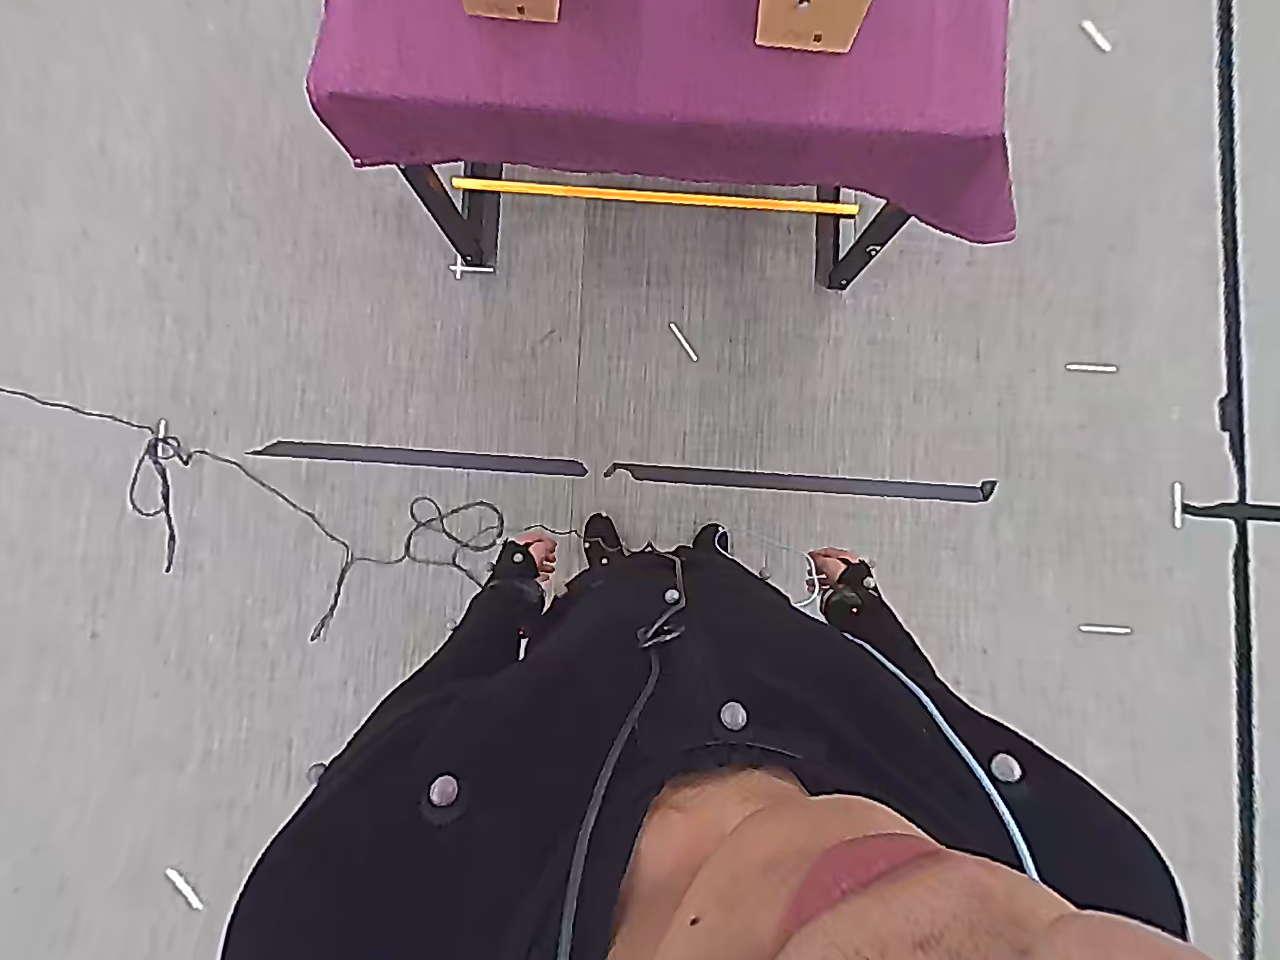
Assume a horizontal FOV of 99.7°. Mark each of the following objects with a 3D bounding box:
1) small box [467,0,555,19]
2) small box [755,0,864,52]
[{"bbox_3d":[-0.225,-0.914,0.889,0.168,0.176,0.179,6,87,-1],"label":"small box"},{"bbox_3d":[0.292,-0.859,0.894,0.168,0.176,0.179,6,86,0],"label":"small box"}]
